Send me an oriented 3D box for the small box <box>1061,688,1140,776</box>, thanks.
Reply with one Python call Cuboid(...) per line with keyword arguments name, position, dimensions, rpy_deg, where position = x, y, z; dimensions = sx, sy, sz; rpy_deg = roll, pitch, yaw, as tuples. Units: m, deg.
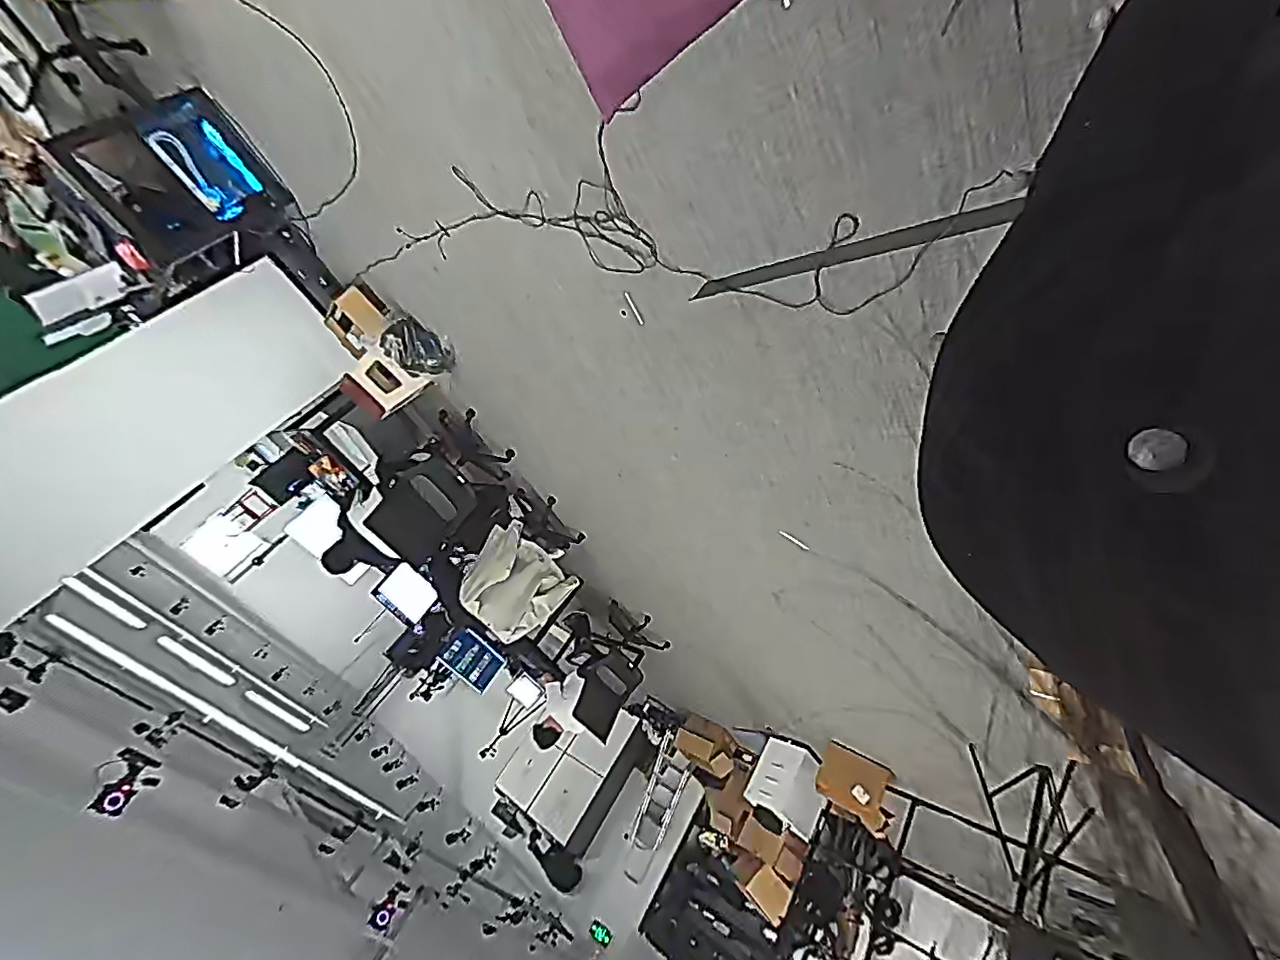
Cuboid(name="small box", position=(1.464, 0.791, 1.715), dimensions=(0.179, 0.176, 0.168), rpy_deg=(3, 134, 47))
